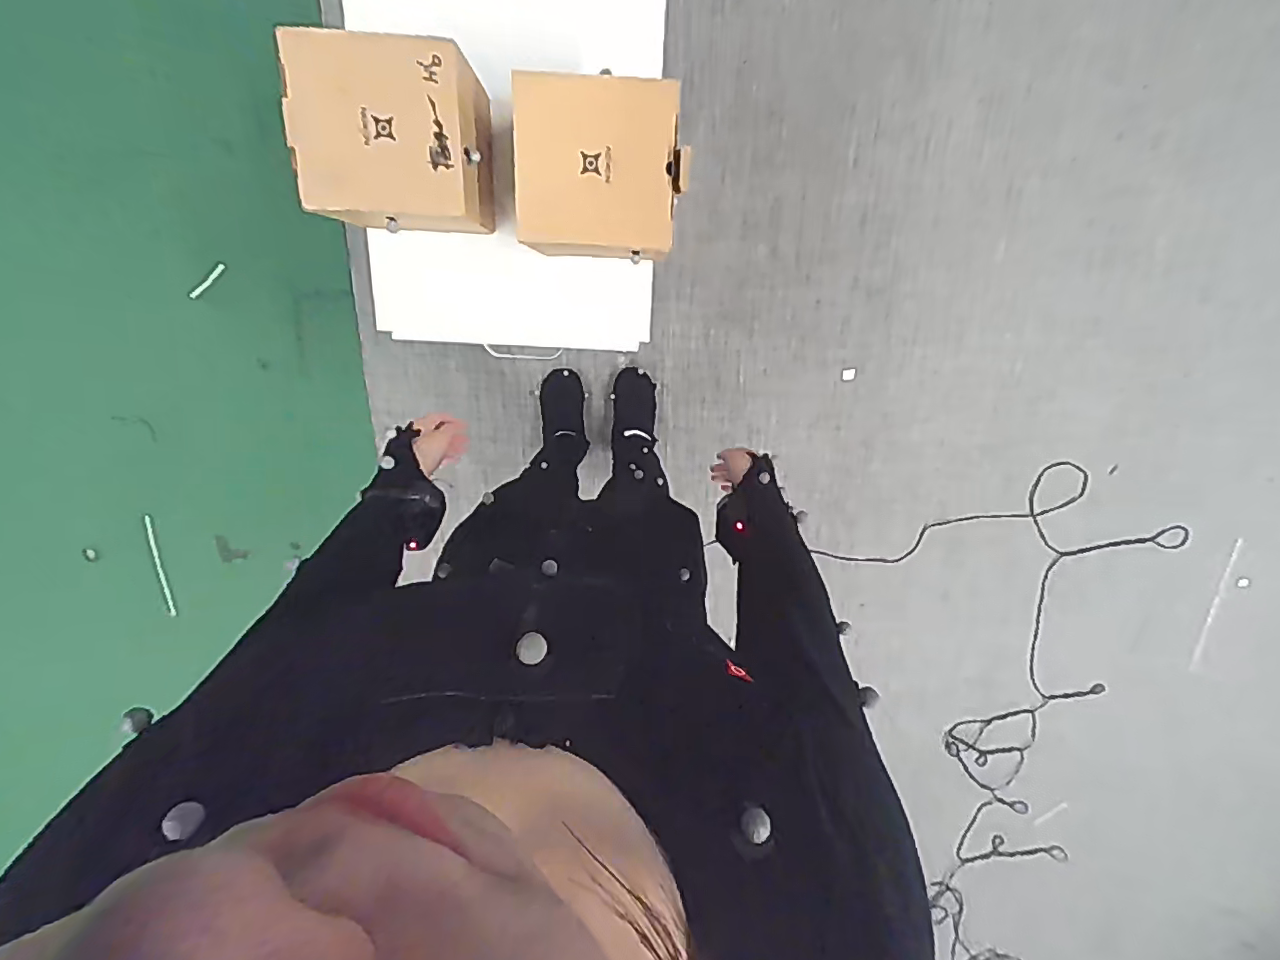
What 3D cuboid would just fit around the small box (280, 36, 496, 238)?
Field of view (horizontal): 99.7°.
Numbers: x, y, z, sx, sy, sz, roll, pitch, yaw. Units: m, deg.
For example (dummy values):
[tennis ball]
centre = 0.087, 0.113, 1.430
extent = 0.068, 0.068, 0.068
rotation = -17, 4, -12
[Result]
[small box]
centre = -0.279, -0.386, 0.641
extent = 0.179, 0.176, 0.168
rotation = 1, 109, -3
